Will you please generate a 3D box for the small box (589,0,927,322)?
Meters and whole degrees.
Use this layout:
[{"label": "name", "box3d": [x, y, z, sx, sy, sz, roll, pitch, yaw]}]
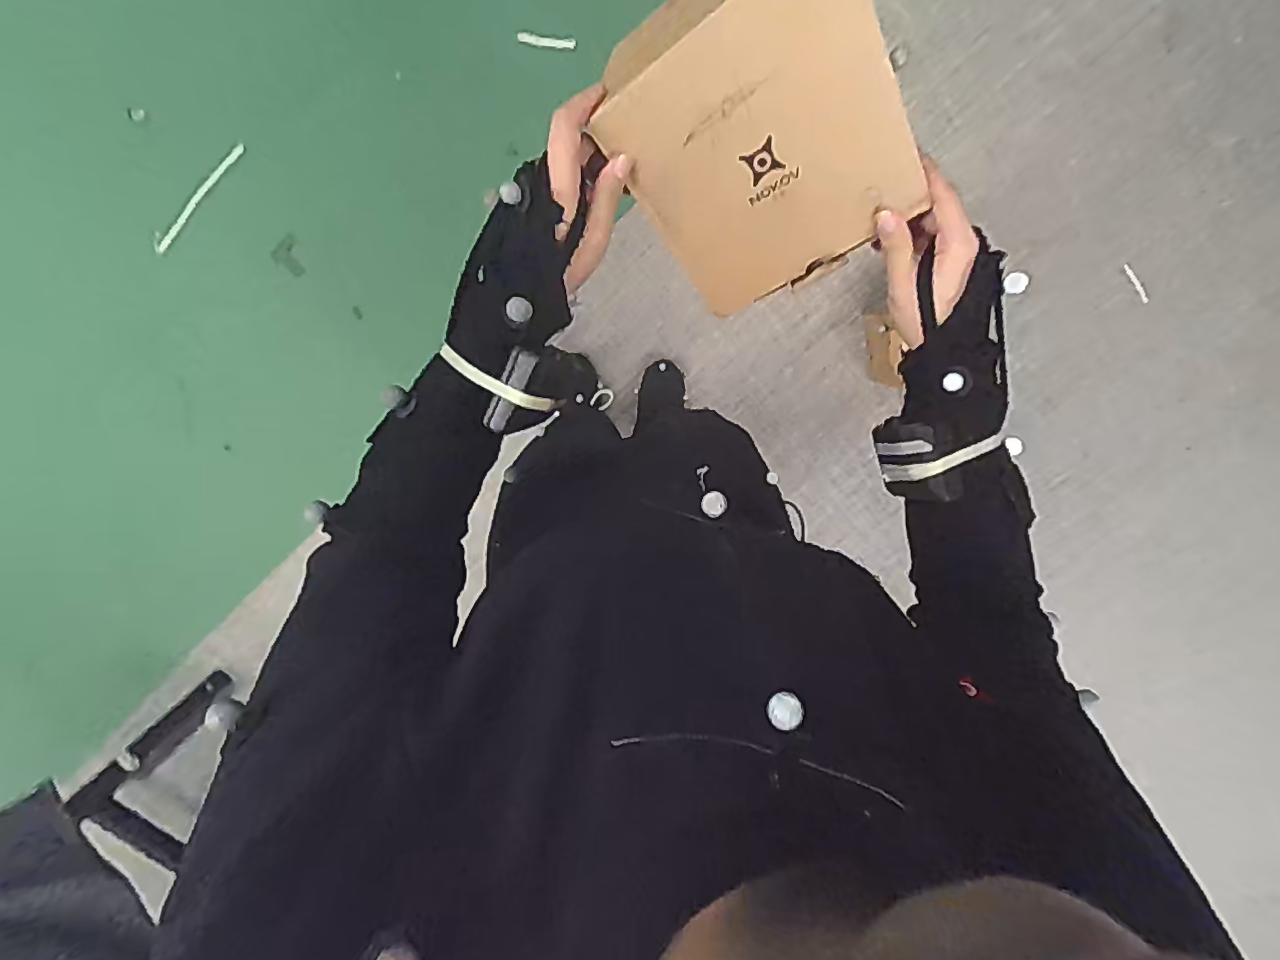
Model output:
[{"label": "small box", "box3d": [0.087, -0.263, 0.405, 0.168, 0.176, 0.179, -23, 132, 30]}]
